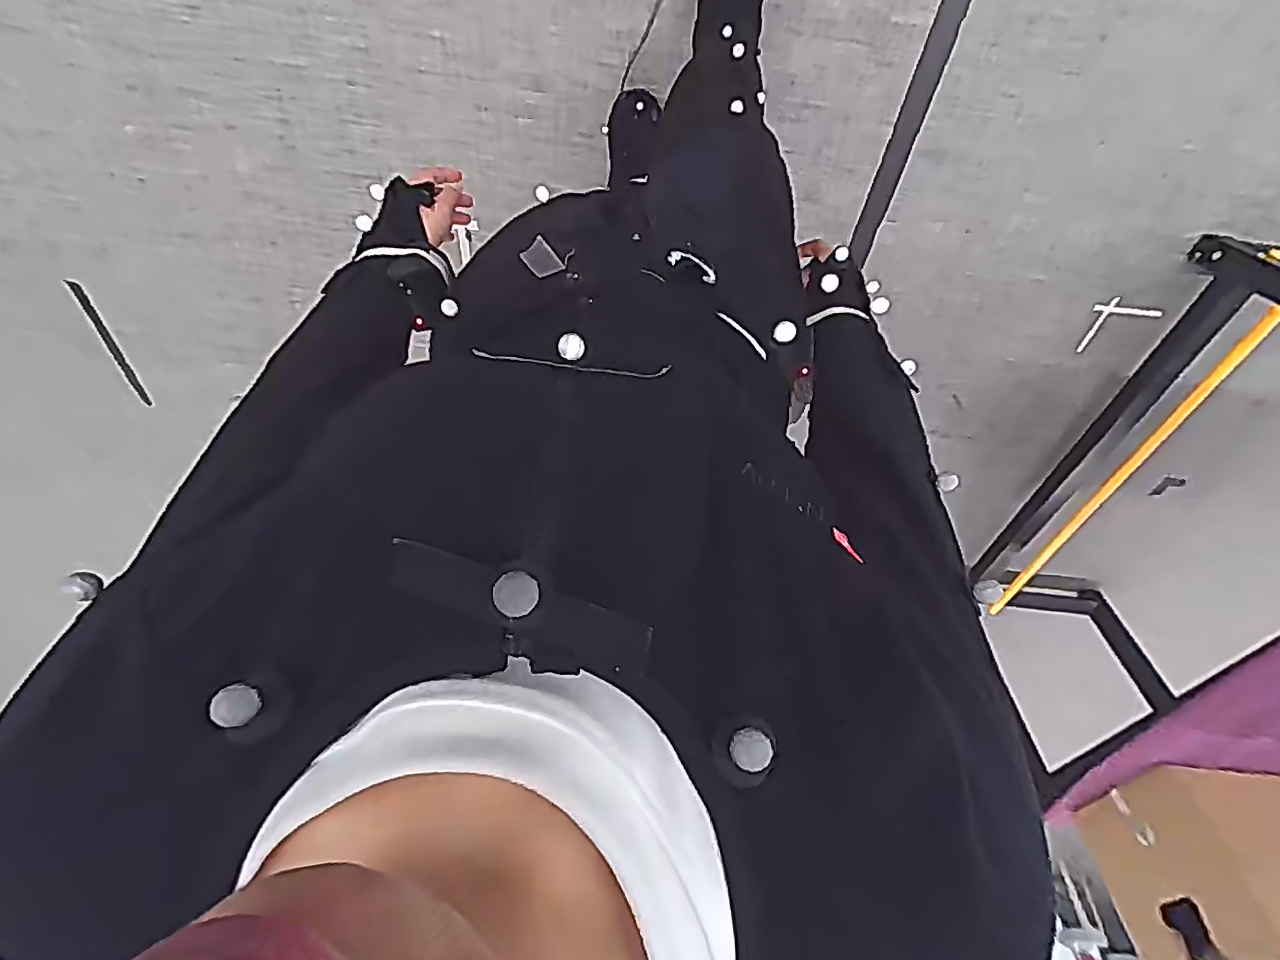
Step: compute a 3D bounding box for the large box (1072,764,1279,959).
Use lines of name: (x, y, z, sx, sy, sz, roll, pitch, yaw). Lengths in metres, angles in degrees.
large box: (1.234, 0.806, 1.094, 0.408, 0.320, 0.320, 6, 133, -2)
